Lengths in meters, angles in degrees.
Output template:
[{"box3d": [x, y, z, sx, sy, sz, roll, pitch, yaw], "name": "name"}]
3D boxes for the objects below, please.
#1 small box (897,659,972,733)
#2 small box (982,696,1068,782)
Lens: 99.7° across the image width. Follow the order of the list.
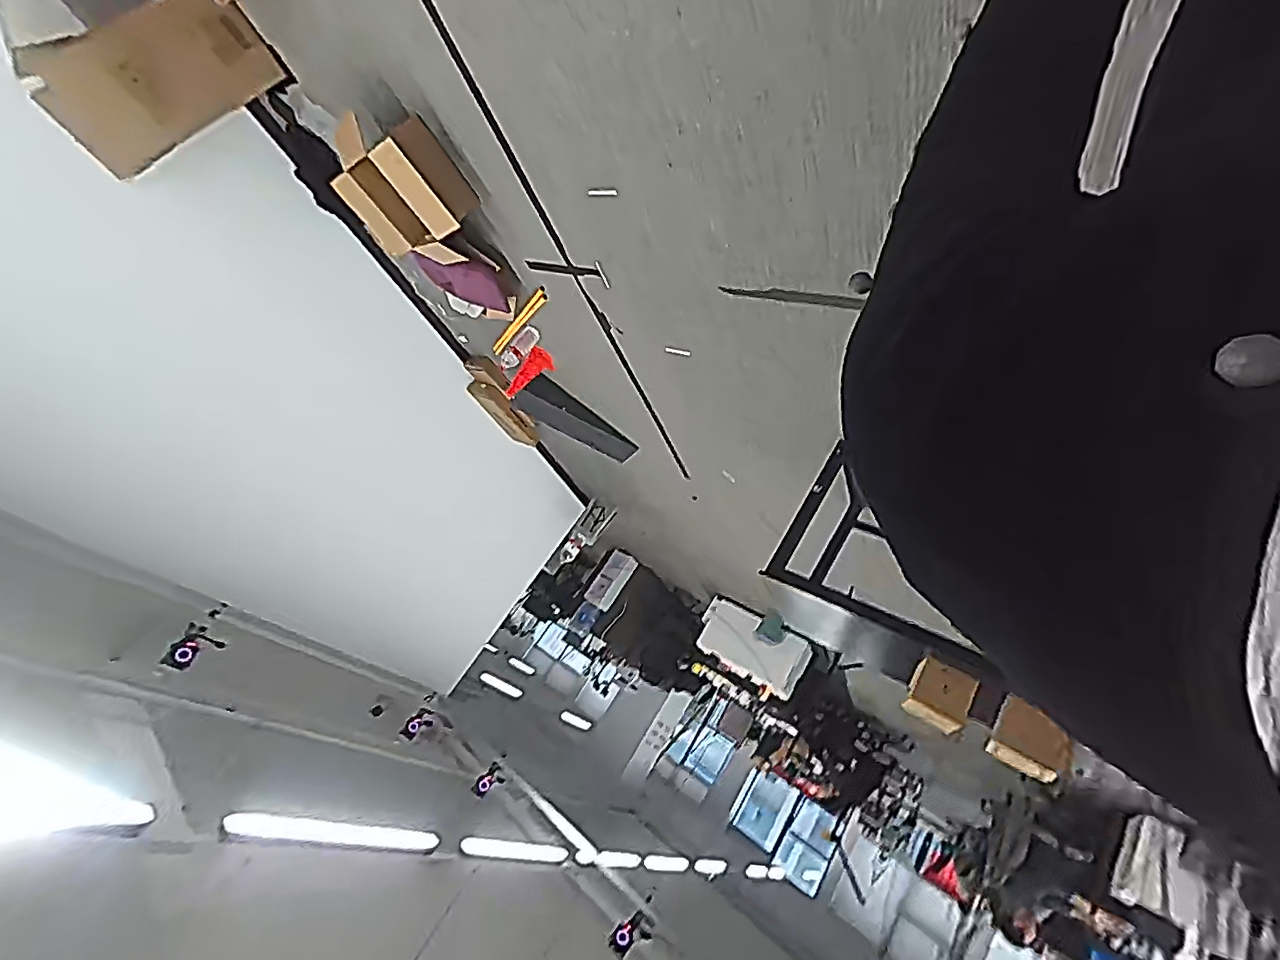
[{"box3d": [1.021, 0.745, 1.872, 0.168, 0.176, 0.179, 27, 161, 27], "name": "small box"}, {"box3d": [1.213, 0.813, 1.705, 0.179, 0.176, 0.168, 22, 157, 35], "name": "small box"}]
